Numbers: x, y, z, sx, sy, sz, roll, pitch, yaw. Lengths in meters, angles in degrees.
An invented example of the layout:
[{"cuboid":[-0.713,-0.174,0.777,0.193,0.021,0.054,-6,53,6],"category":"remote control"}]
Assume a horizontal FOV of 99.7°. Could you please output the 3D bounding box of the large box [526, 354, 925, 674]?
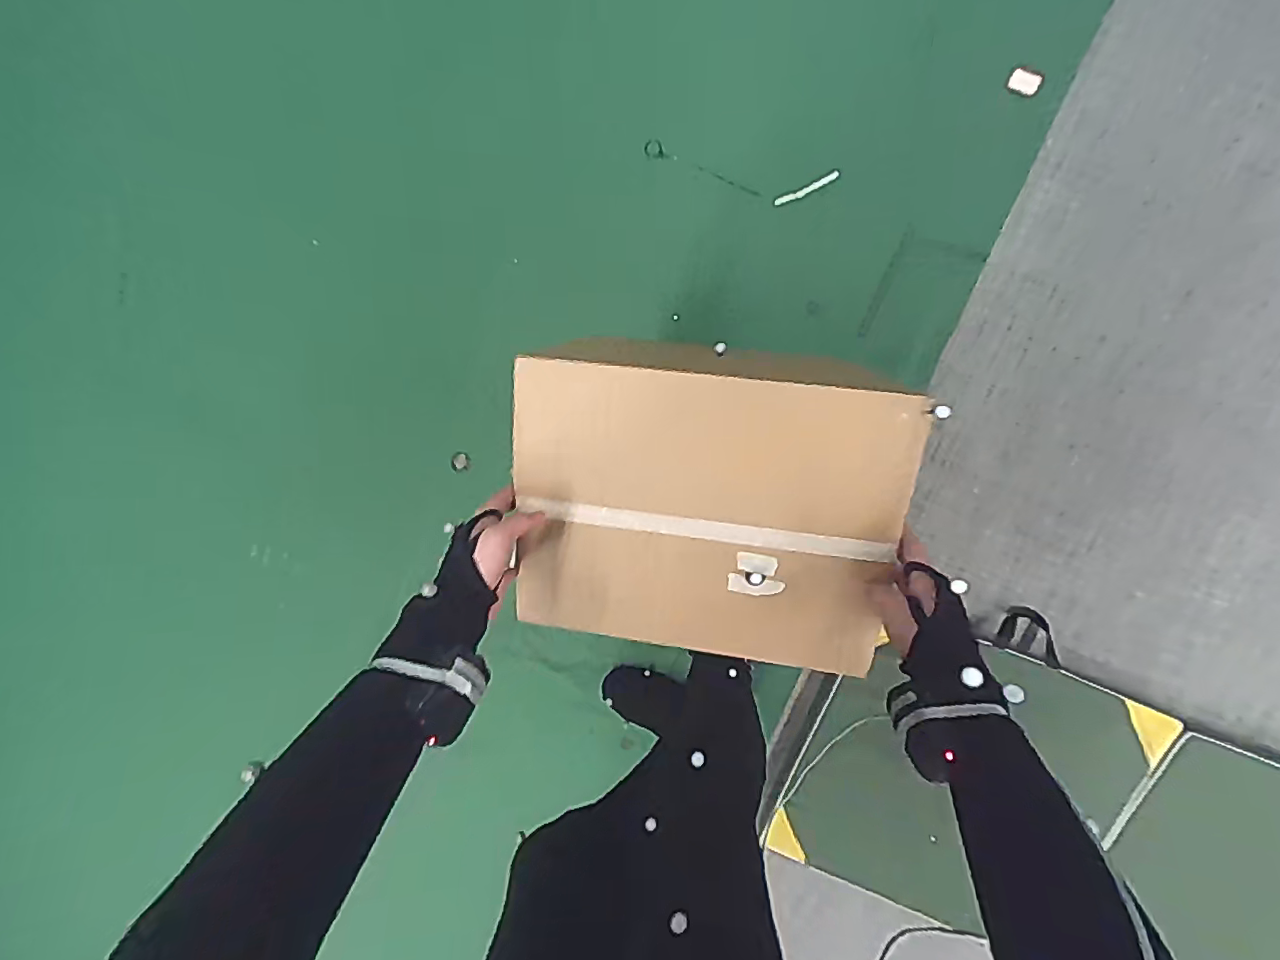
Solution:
[{"cuboid":[0.088,0.010,0.727,0.408,0.320,0.320,7,109,7],"category":"large box"}]
